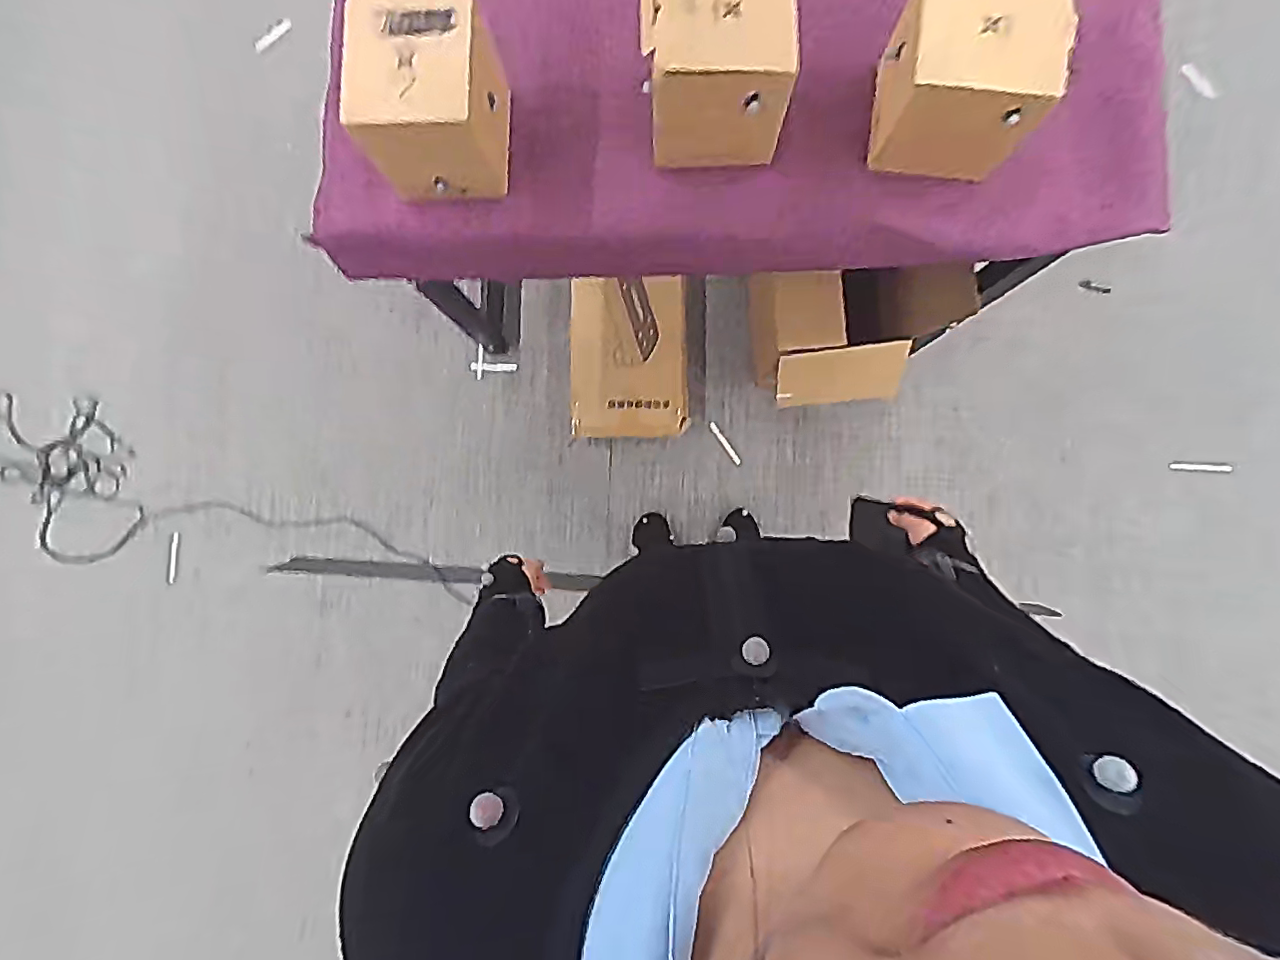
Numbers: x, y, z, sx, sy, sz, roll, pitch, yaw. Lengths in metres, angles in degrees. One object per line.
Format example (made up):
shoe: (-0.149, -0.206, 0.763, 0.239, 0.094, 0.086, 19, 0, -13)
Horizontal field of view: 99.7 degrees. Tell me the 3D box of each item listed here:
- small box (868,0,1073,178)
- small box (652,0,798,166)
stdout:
small box: (0.423, -0.532, 0.718, 0.179, 0.176, 0.168, 7, 87, 3)
small box: (0.105, -0.556, 0.734, 0.179, 0.176, 0.168, 0, 84, 3)
